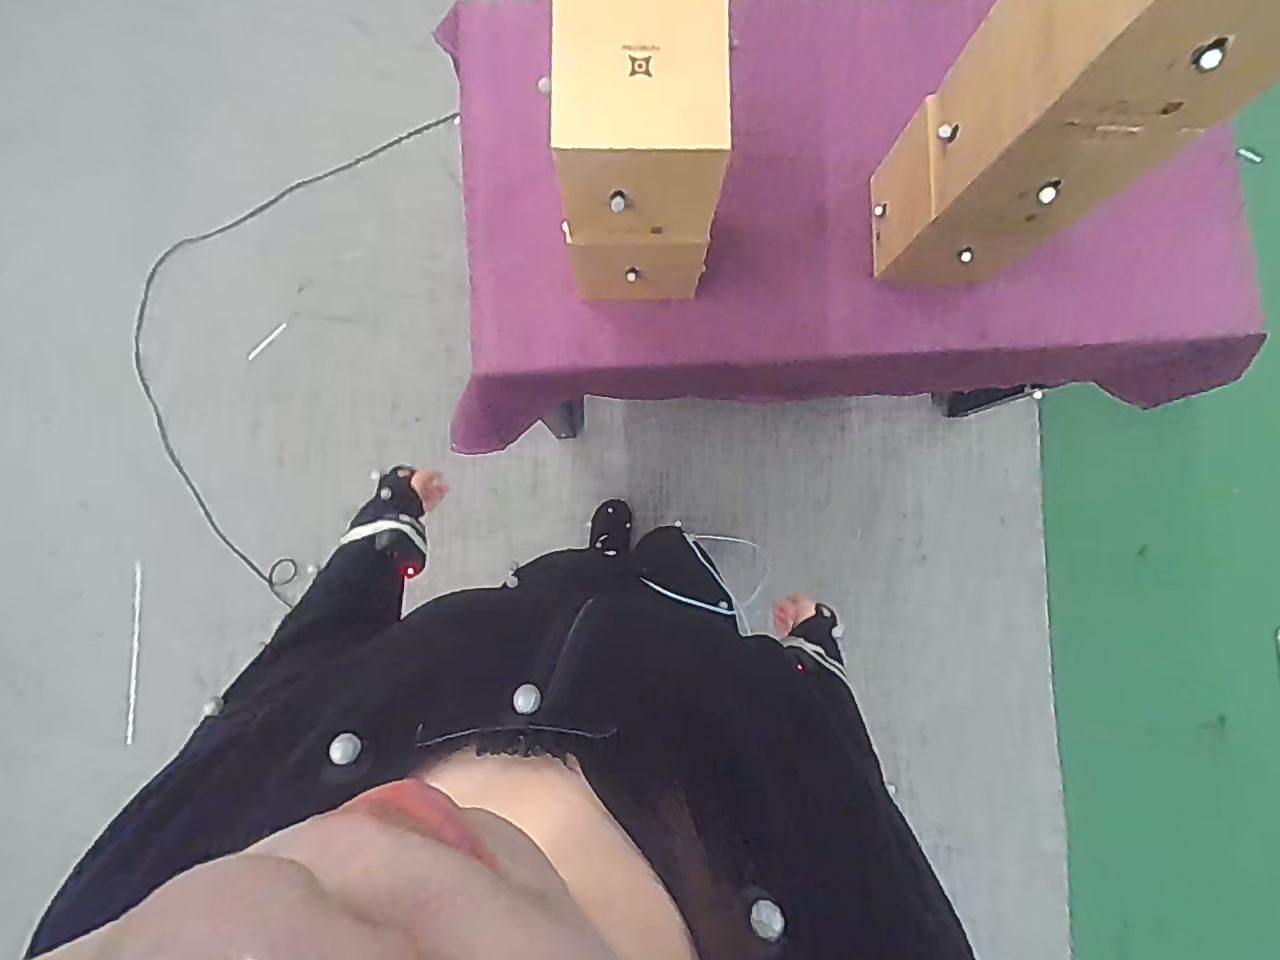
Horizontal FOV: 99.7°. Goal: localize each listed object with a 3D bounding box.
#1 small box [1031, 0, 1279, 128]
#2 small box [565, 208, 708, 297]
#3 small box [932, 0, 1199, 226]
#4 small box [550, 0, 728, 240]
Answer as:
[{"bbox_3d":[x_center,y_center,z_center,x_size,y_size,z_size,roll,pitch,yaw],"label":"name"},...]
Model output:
[{"bbox_3d":[0.444,-0.413,0.423,0.168,0.176,0.179,2,85,-1],"label":"small box"},{"bbox_3d":[-0.006,-0.363,0.740,0.179,0.176,0.168,-1,85,-1],"label":"small box"},{"bbox_3d":[0.443,-0.401,0.588,0.168,0.176,0.179,3,86,-1],"label":"small box"},{"bbox_3d":[-0.001,-0.378,0.578,0.168,0.176,0.179,0,84,-1],"label":"small box"}]
